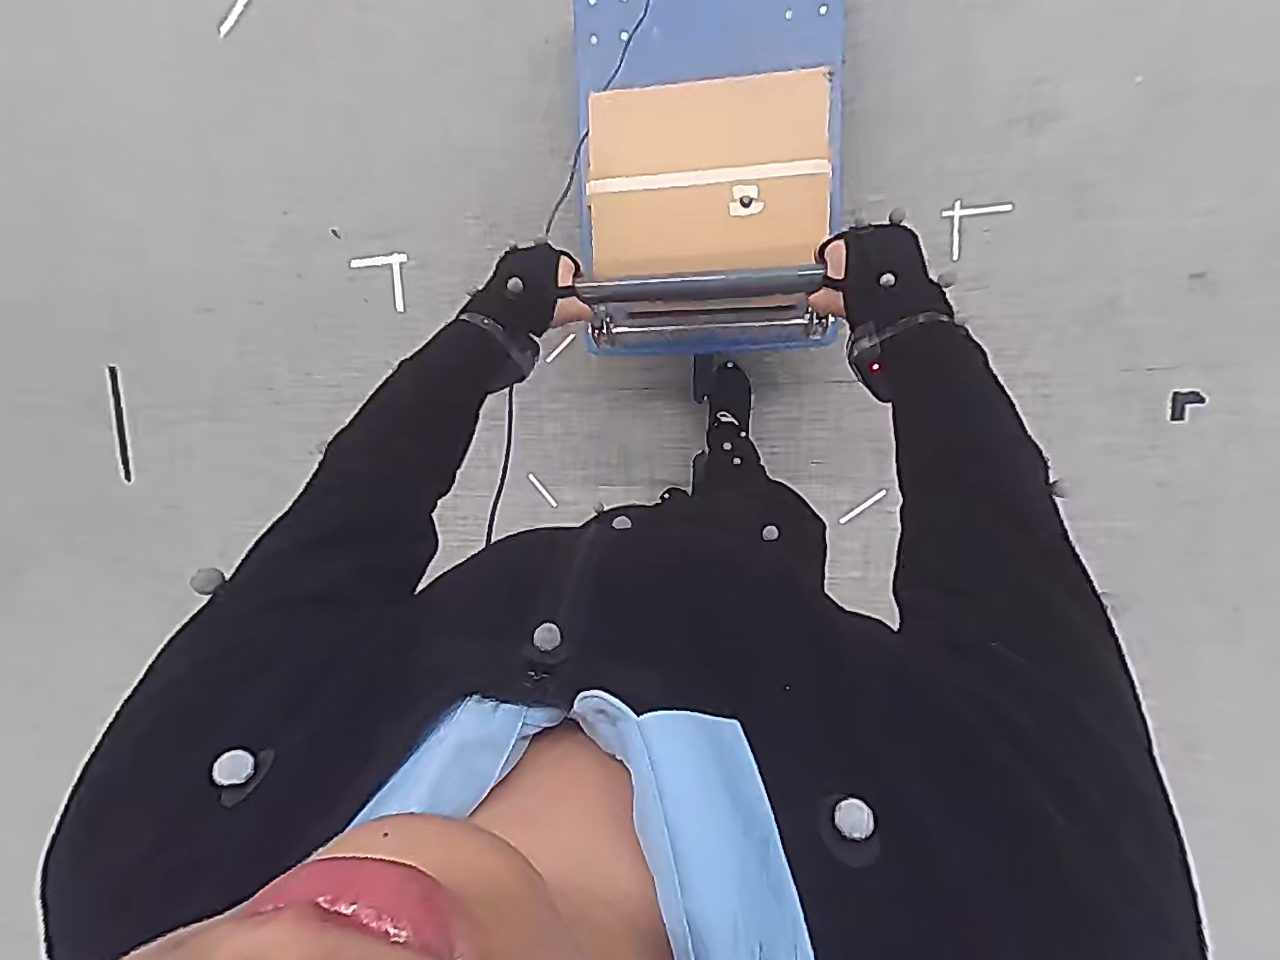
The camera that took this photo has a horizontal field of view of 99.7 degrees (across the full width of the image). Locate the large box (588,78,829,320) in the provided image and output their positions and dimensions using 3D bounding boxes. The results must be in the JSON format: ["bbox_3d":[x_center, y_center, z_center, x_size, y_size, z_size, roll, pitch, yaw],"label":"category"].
[{"bbox_3d":[0.129,-0.508,1.058,0.408,0.320,0.320,0,96,7],"label":"large box"}]
